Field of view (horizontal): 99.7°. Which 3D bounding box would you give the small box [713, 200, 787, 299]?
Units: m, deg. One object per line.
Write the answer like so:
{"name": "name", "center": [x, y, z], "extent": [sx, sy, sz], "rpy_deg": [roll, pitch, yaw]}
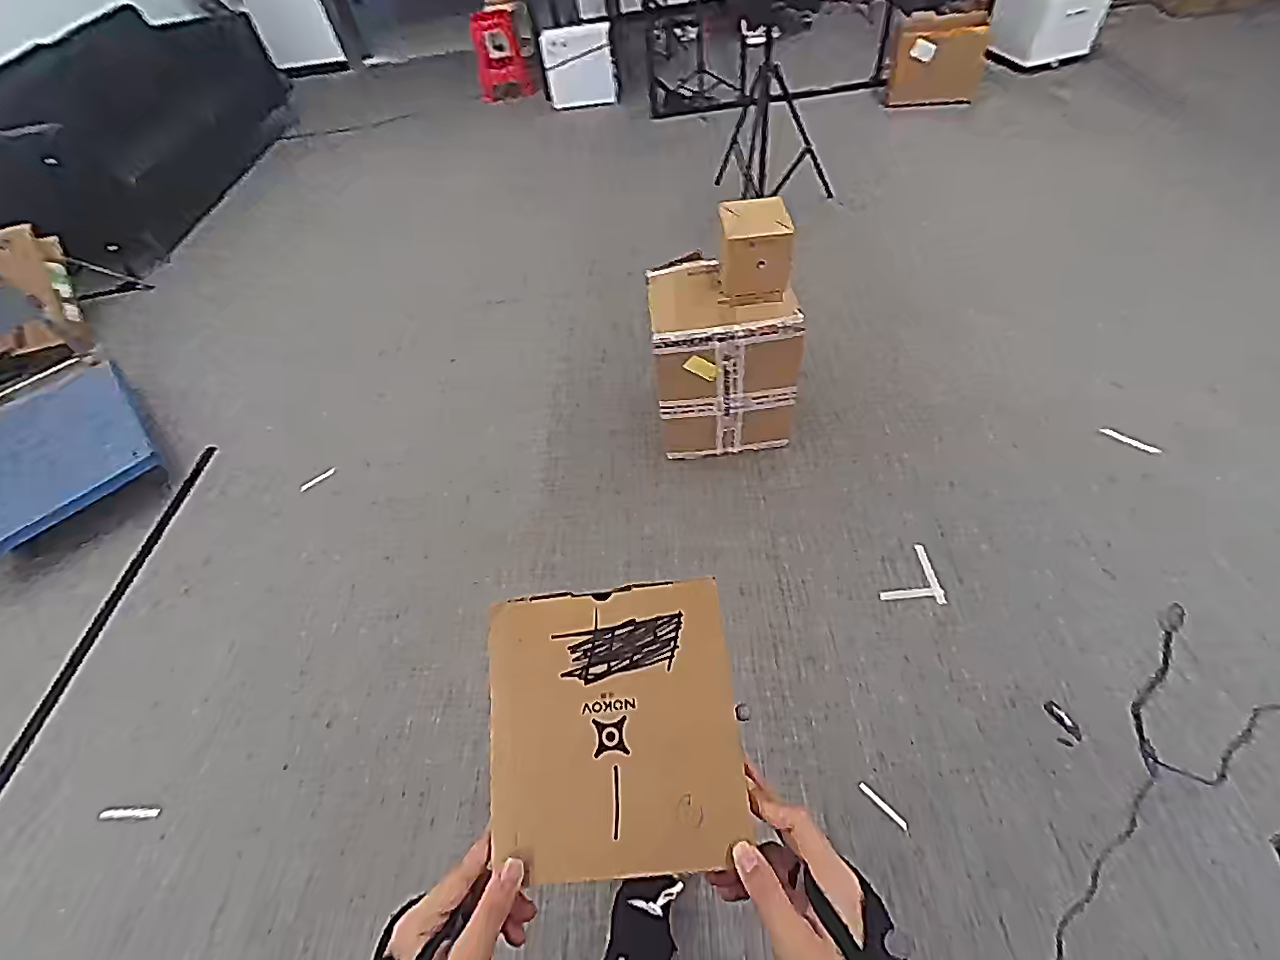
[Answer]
{"name": "small box", "center": [0.286, -0.609, 1.429], "extent": [0.168, 0.176, 0.179], "rpy_deg": [-5, 54, 2]}

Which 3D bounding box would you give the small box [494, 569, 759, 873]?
{"name": "small box", "center": [-0.008, 0.180, 0.432], "extent": [0.168, 0.176, 0.179], "rpy_deg": [-7, 69, 4]}
